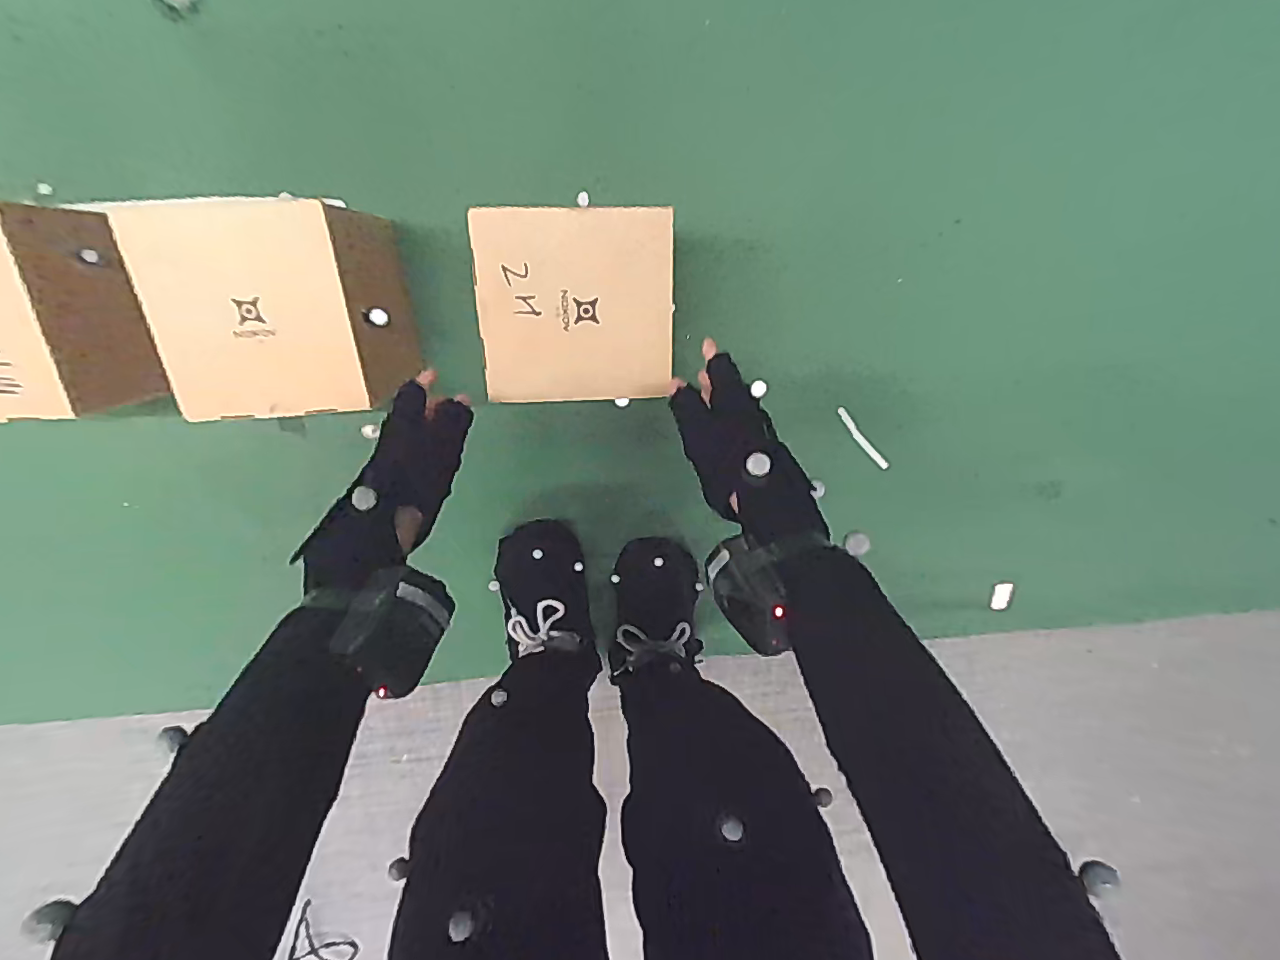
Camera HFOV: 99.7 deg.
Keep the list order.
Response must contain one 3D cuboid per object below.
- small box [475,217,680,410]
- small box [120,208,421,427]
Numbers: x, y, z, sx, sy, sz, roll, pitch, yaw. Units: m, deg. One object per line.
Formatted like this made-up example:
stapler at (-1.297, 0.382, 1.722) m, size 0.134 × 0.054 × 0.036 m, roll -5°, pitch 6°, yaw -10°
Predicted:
small box at (-0.061, -0.173, 0.558) m, size 0.179 × 0.176 × 0.168 m, roll -2°, pitch 111°, yaw -5°
small box at (-0.335, -0.162, 0.537) m, size 0.168 × 0.176 × 0.179 m, roll -4°, pitch 112°, yaw -4°
